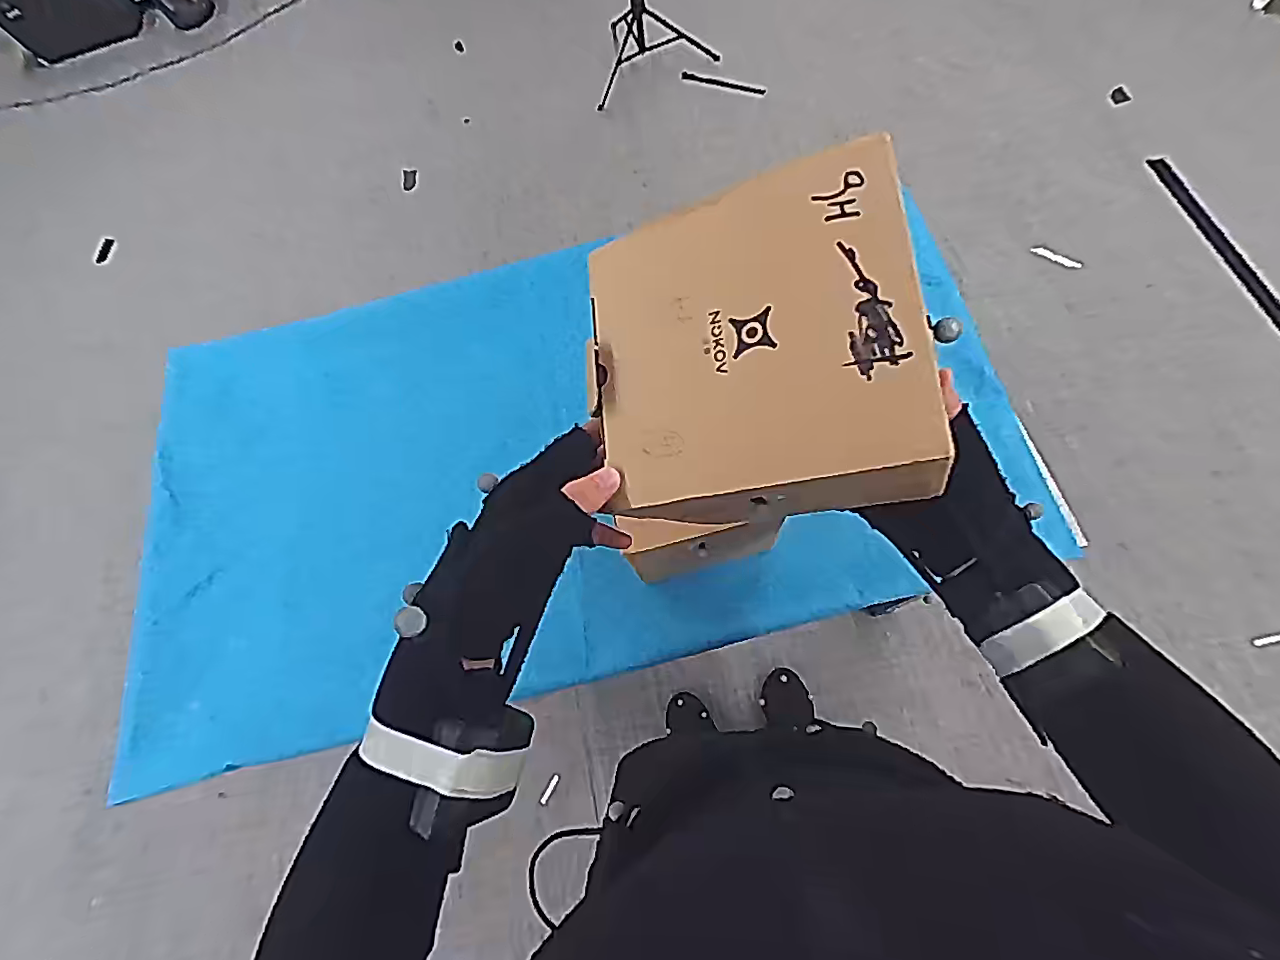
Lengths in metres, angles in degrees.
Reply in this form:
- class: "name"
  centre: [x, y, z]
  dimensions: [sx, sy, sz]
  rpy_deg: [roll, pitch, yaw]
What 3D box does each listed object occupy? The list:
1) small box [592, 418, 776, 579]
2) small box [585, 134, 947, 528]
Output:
- class: "small box"
  centre: [0.058, 0.011, 0.644]
  dimensions: [0.179, 0.176, 0.168]
  rpy_deg: [-15, 69, 3]
- class: "small box"
  centre: [0.087, -0.064, 0.355]
  dimensions: [0.179, 0.176, 0.168]
  rpy_deg: [-13, 77, 26]
